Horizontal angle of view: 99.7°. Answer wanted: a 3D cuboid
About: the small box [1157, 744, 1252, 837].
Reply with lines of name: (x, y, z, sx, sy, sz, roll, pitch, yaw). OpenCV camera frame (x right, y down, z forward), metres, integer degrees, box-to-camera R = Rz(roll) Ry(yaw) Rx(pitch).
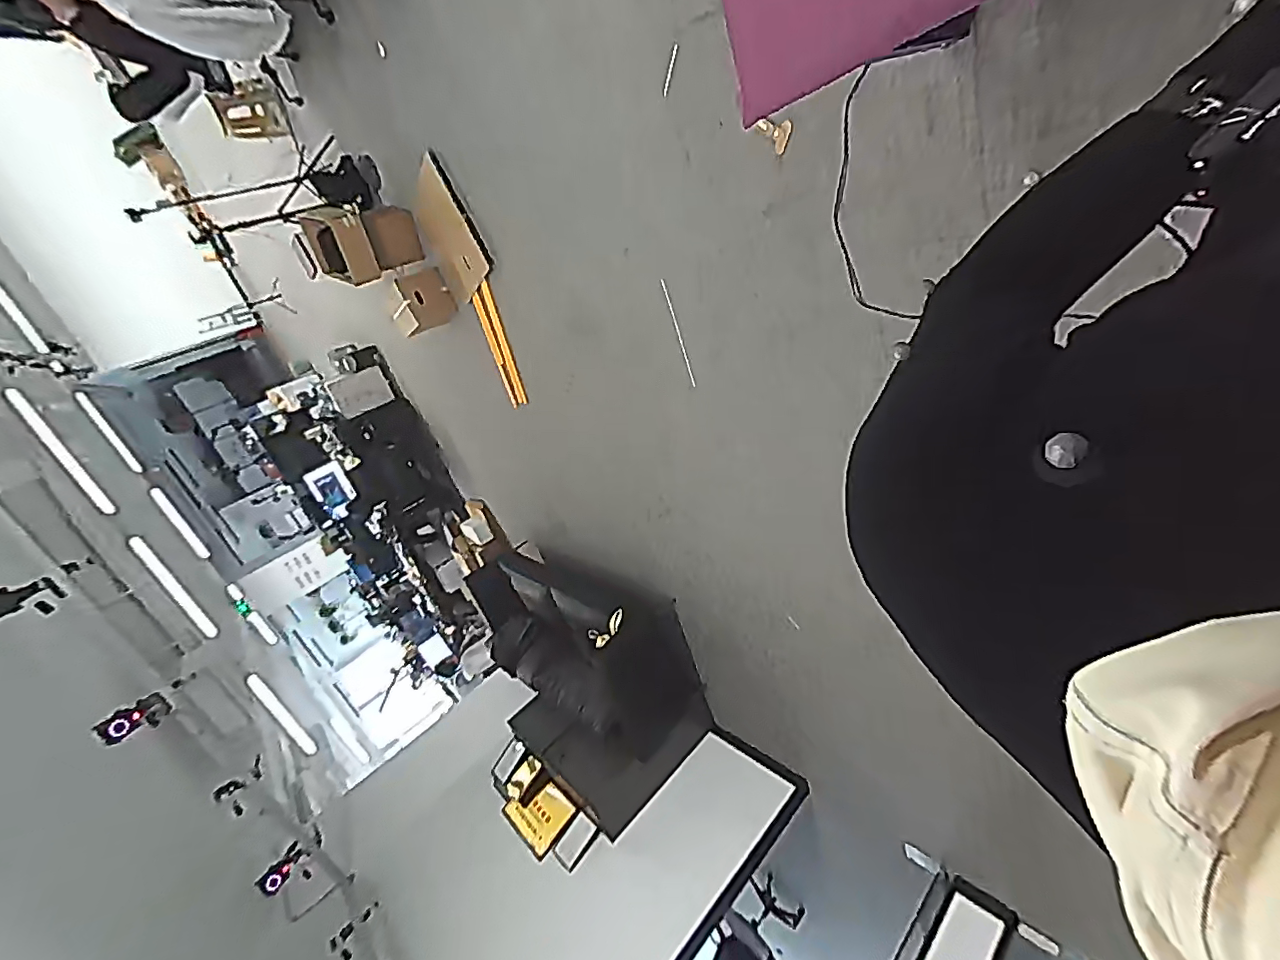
small box: (1.655, 0.880, 1.584, 0.168, 0.176, 0.179, 15, 132, 49)

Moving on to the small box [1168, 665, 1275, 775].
small box: (1.575, 0.642, 1.464, 0.168, 0.176, 0.179, 14, 131, 49)
